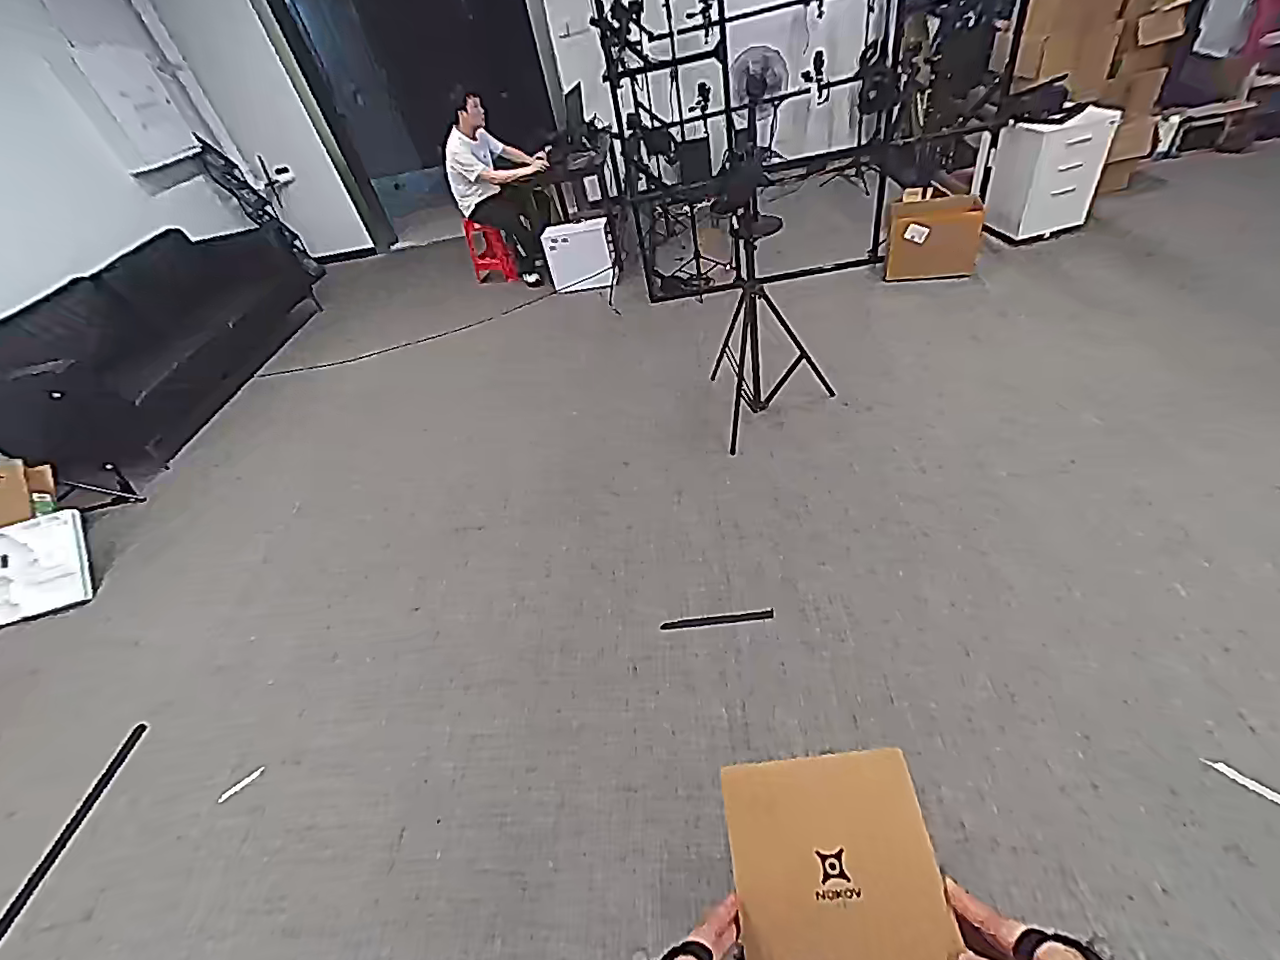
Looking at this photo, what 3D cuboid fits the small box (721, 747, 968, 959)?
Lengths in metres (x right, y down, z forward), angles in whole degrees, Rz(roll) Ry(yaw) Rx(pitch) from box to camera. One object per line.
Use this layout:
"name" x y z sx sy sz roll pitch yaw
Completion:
"small box" 0.175 0.367 0.501 0.168 0.176 0.179 -12 52 8
